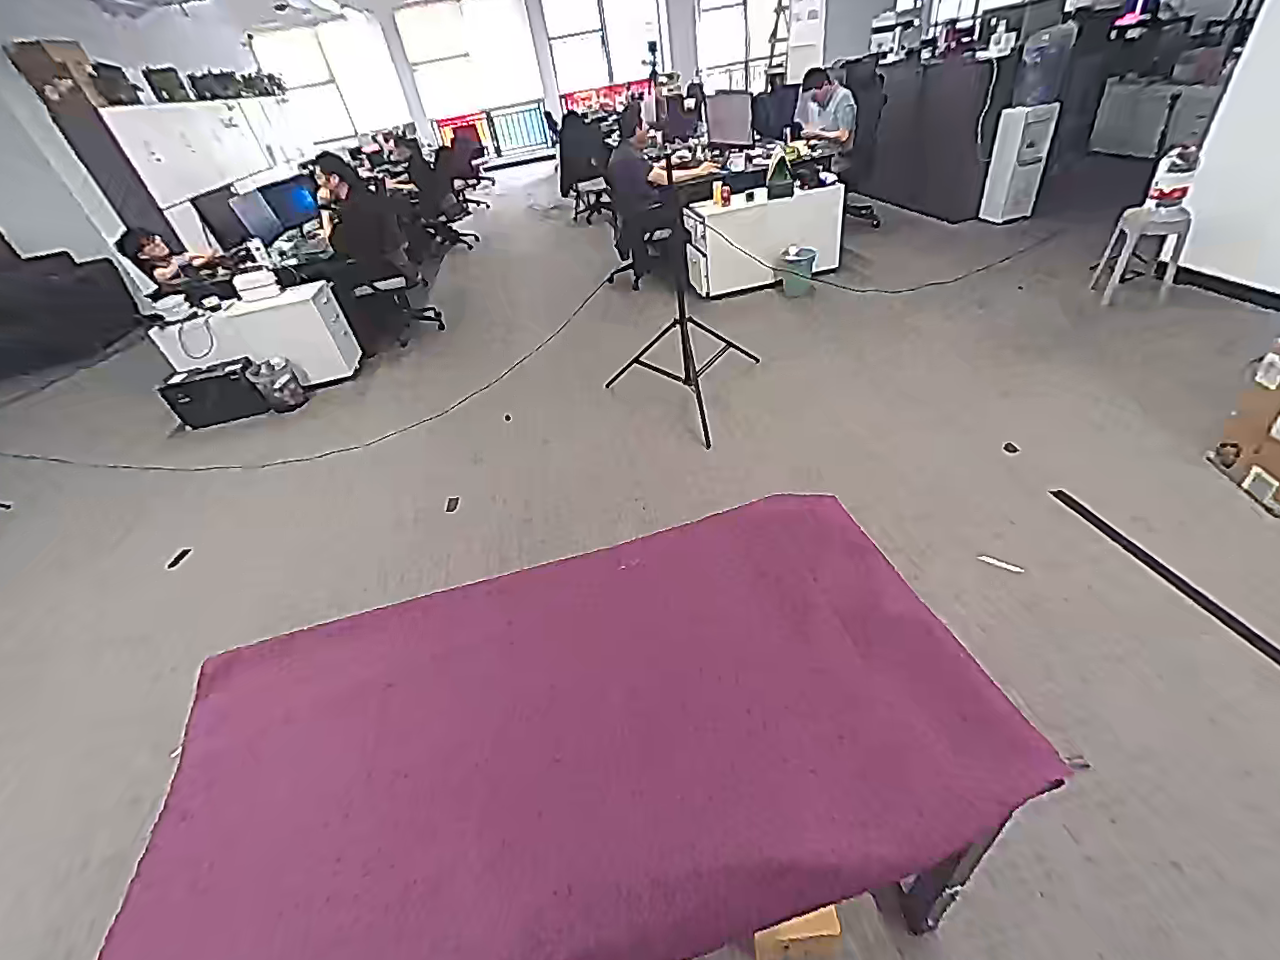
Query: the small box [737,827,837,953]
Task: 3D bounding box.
[{"bbox_3d":[0.307,0.875,1.150,0.168,0.176,0.179,-9,37,2],"label":"small box"}]
